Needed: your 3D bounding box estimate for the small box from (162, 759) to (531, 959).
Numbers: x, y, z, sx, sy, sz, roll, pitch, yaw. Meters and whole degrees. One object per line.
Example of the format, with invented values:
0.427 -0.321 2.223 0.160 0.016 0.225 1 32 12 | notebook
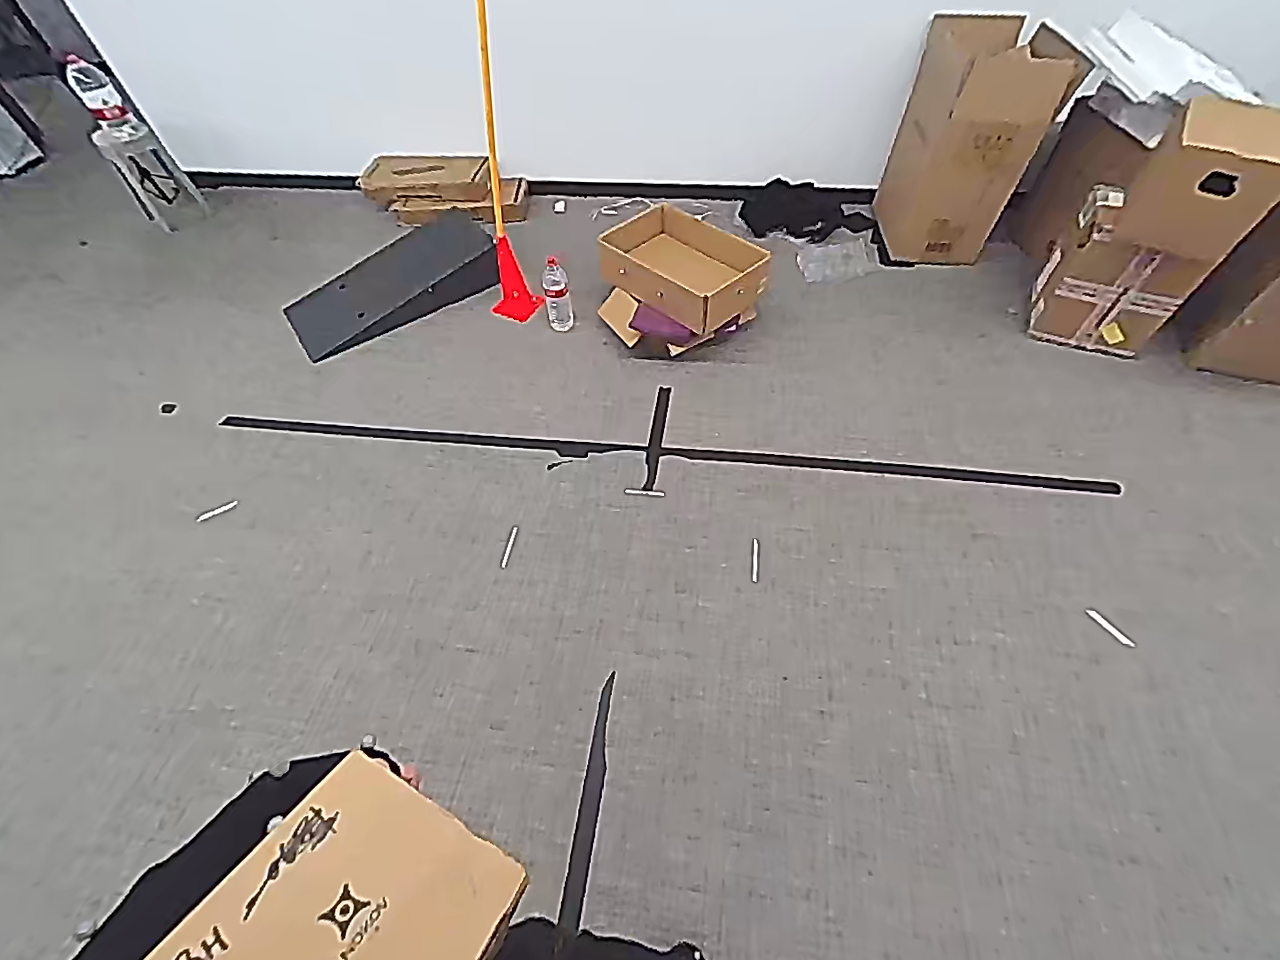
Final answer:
-0.211 0.364 0.410 0.179 0.176 0.168 28 34 11 | small box
